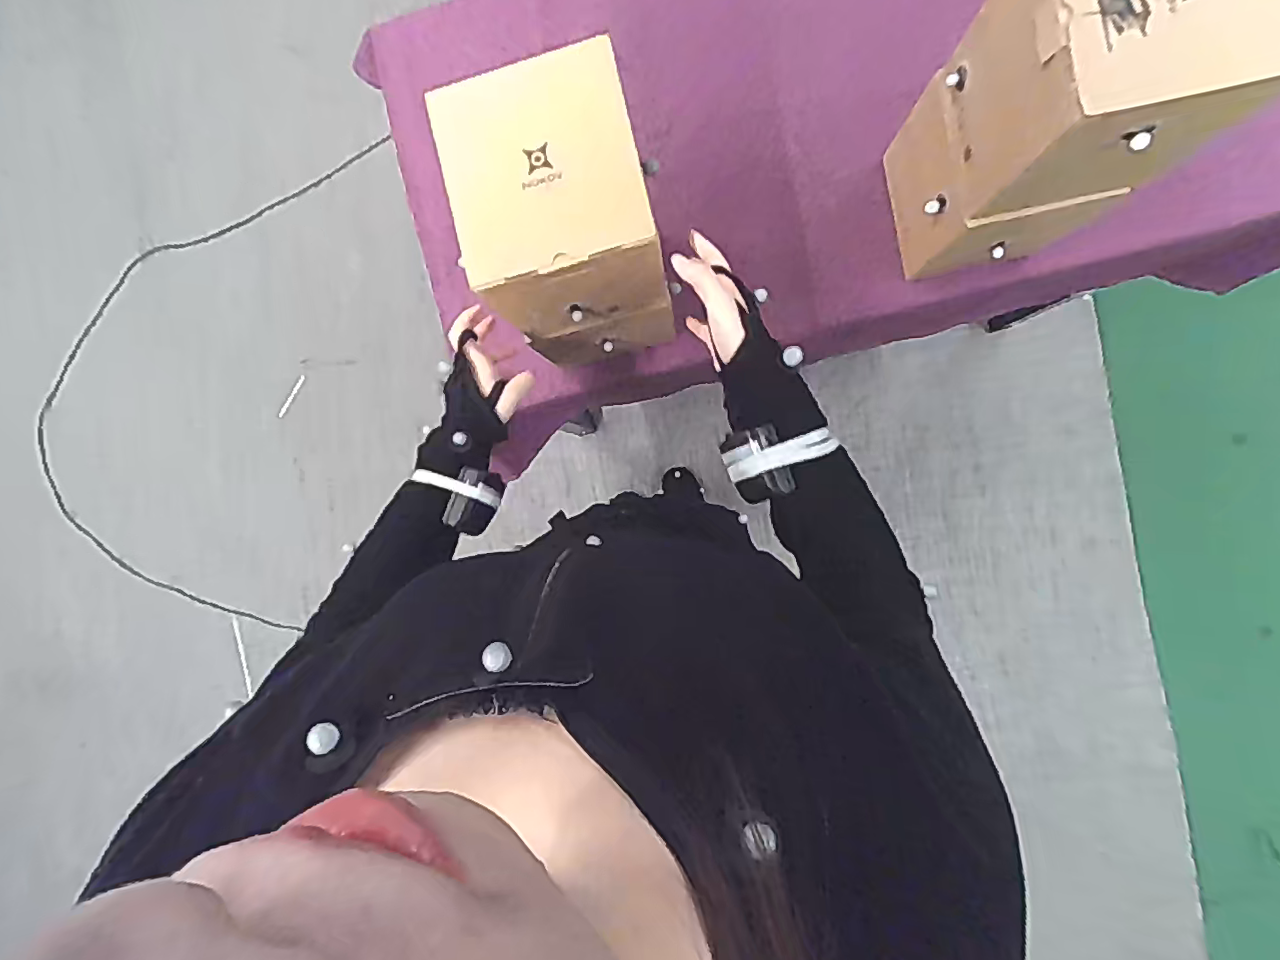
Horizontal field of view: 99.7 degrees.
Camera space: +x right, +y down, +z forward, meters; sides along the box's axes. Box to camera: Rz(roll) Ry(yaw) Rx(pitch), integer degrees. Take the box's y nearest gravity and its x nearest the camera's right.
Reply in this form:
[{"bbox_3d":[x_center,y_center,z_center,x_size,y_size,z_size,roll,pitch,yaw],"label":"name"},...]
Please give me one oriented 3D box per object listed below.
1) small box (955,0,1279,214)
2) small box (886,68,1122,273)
[{"bbox_3d":[0.412,-0.367,0.488,0.179,0.176,0.168,-10,91,4],"label":"small box"},{"bbox_3d":[0.419,-0.367,0.653,0.168,0.176,0.179,-10,90,5],"label":"small box"}]
